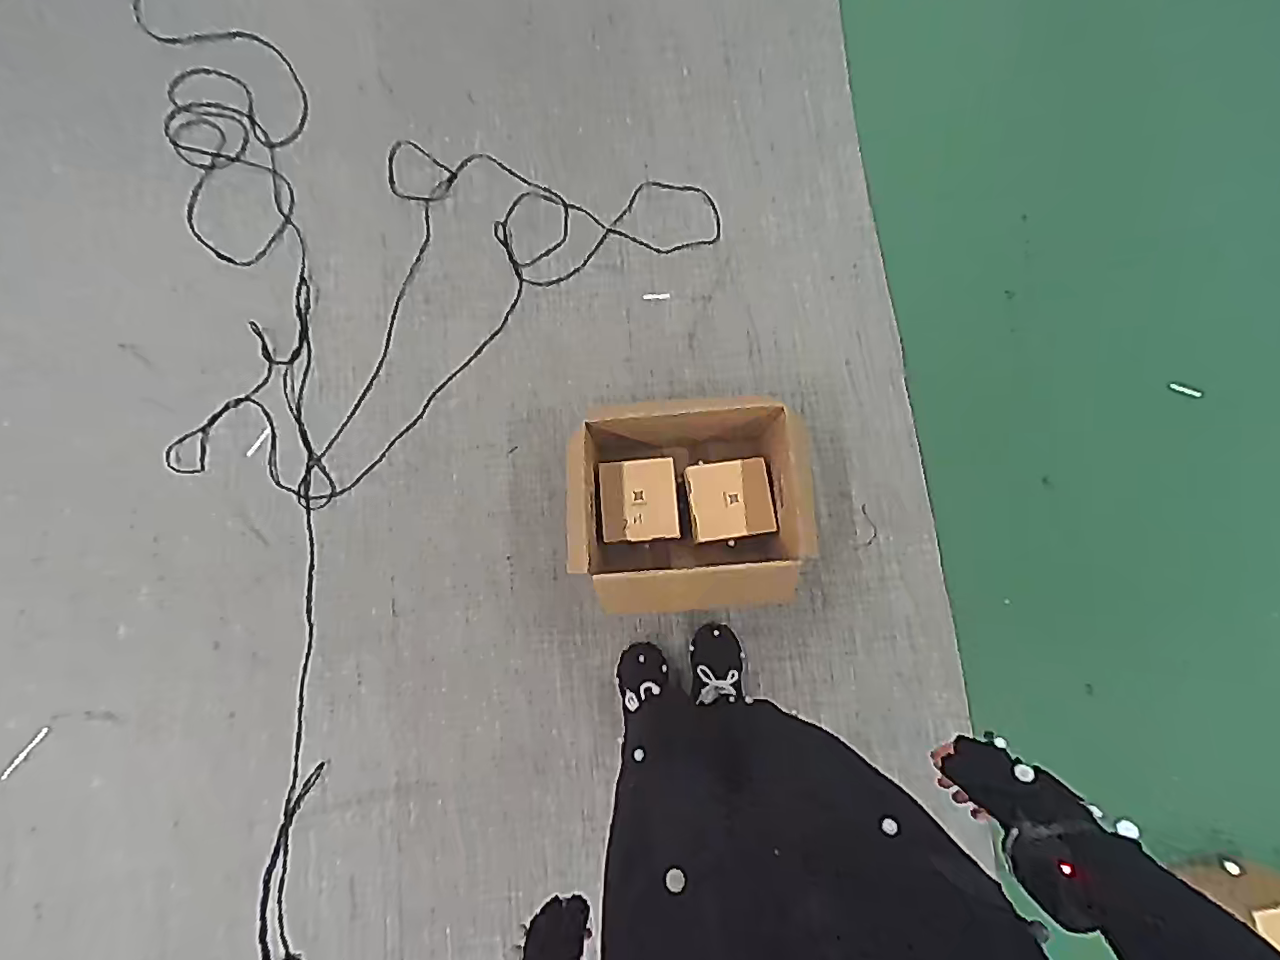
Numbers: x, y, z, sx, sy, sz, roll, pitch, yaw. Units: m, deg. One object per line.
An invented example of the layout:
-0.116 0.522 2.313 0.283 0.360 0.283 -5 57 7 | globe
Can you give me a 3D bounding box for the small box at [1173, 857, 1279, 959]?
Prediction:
1.259 0.912 1.098 0.168 0.176 0.179 -8 80 0 | small box
